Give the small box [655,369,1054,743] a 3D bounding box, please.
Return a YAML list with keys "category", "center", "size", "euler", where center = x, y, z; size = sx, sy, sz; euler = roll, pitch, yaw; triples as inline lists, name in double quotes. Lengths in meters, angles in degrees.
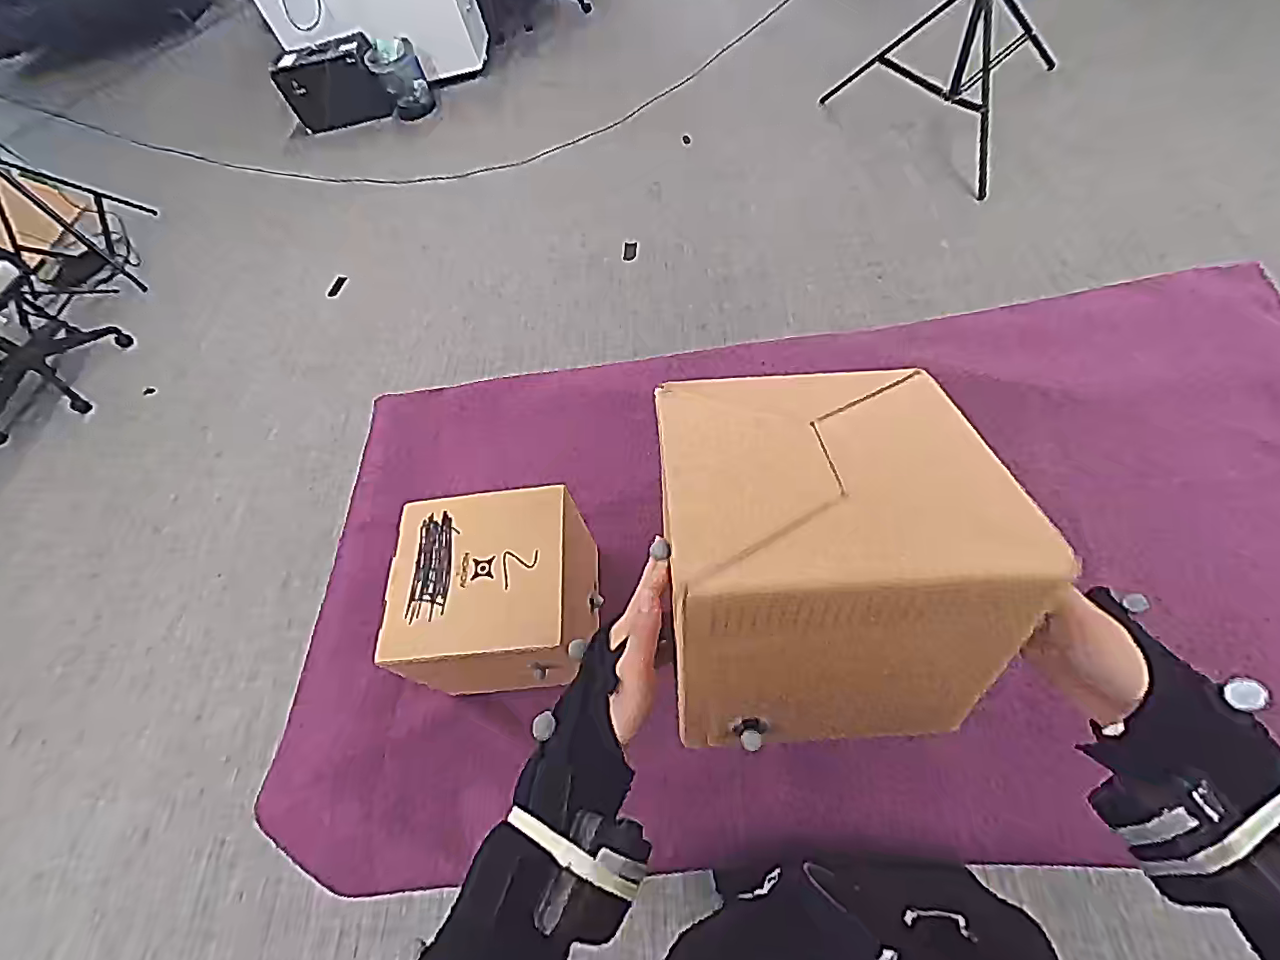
- category: "small box"
  center: [0.104, 0.042, 0.343]
  size: [0.179, 0.176, 0.168]
  euler: [-3, 39, 0]
